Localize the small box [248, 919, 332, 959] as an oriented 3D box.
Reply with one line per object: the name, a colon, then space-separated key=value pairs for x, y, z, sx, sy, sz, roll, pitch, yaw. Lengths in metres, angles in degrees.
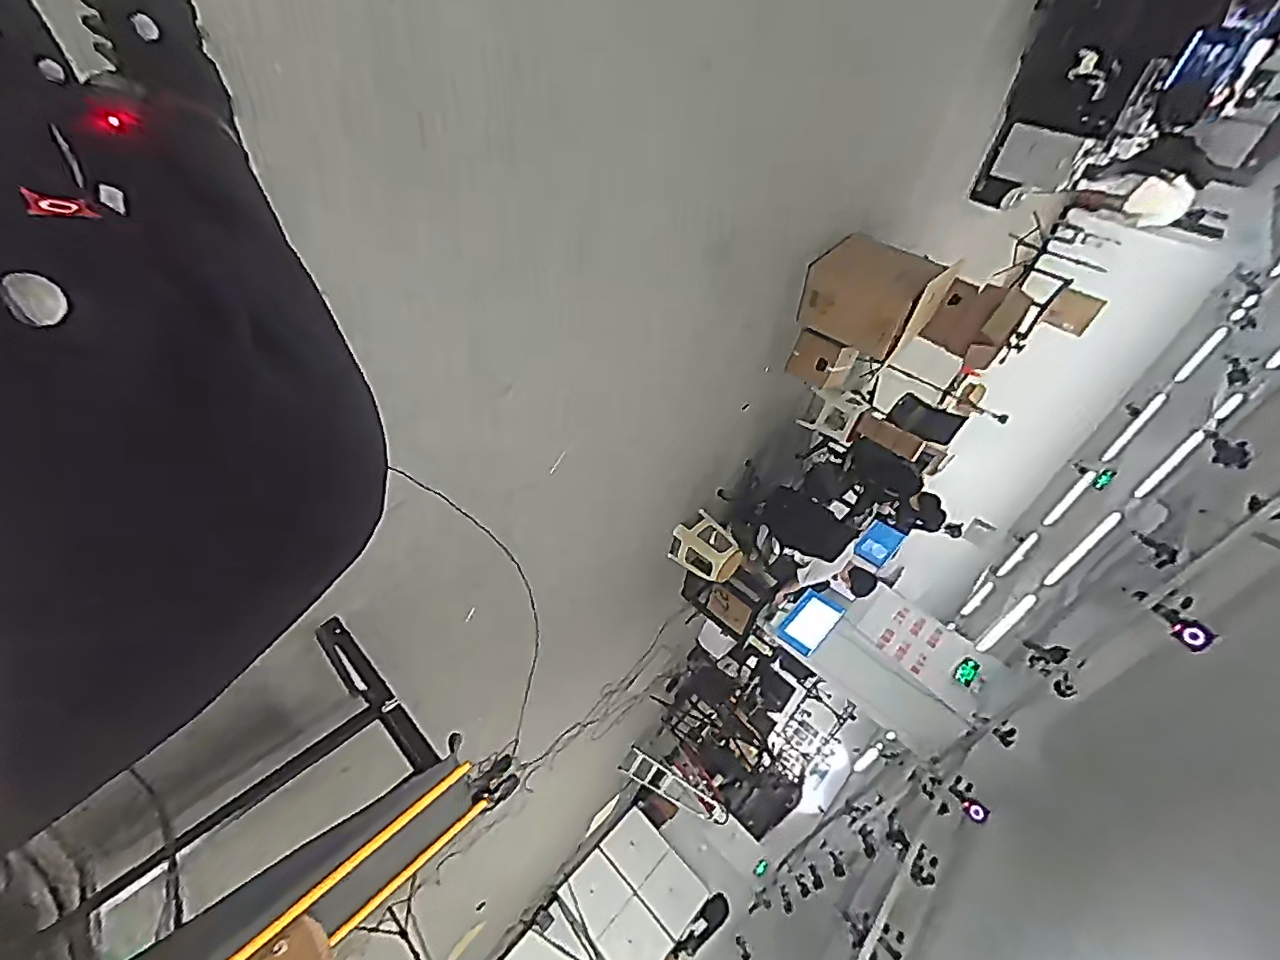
small box: x=-0.933 y=1.323 z=1.439 sx=0.168 sy=0.176 sz=0.179 roll=-35 pitch=147 yaw=-36
